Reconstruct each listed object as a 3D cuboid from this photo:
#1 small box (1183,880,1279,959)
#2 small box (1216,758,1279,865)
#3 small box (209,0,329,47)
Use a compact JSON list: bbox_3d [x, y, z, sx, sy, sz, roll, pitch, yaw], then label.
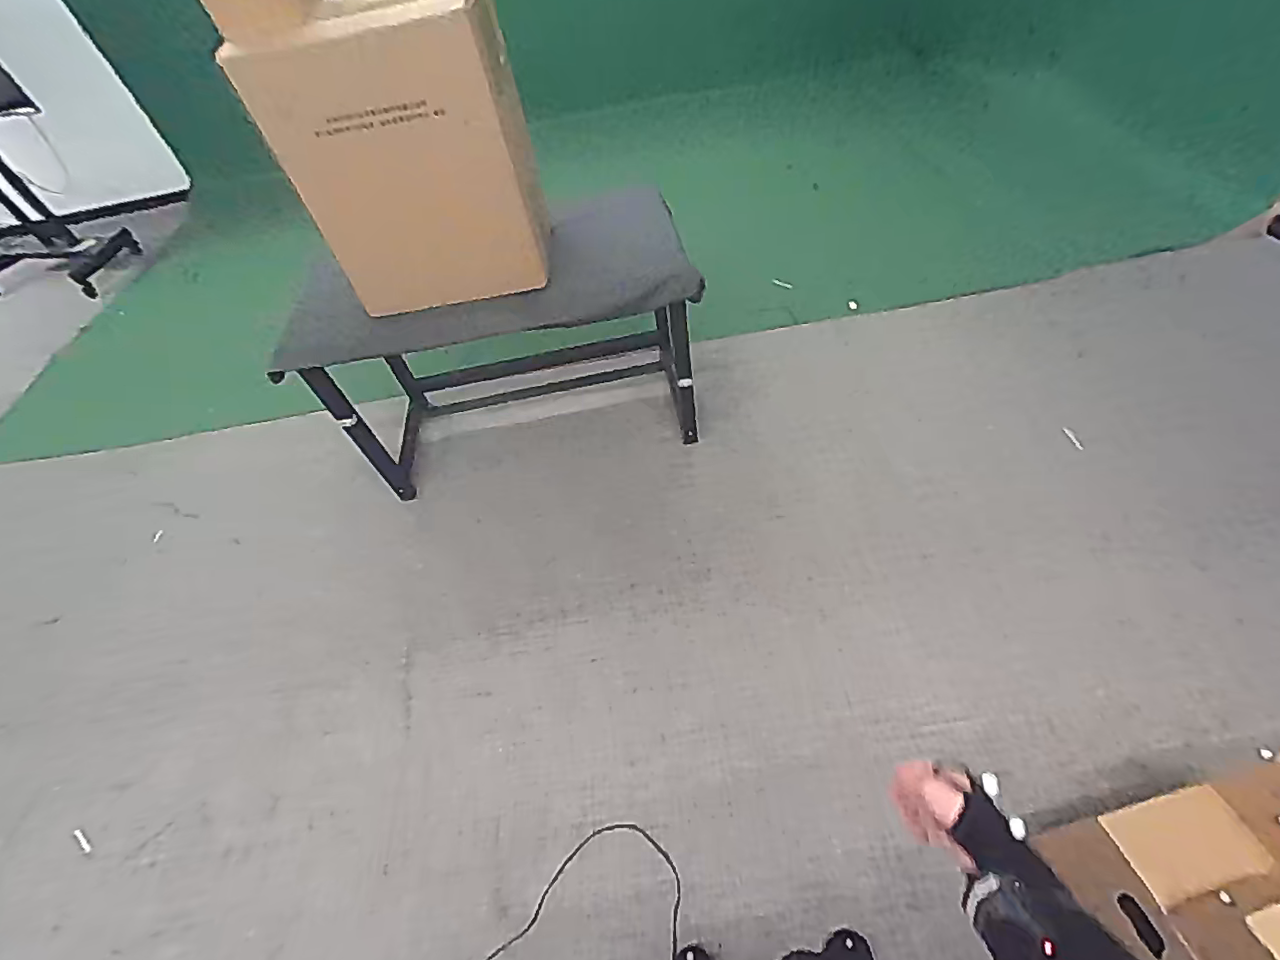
[{"bbox_3d":[0.959,0.702,0.780,0.179,0.176,0.168,-17,53,-5],"label":"small box"},{"bbox_3d":[1.131,0.547,0.876,0.168,0.176,0.179,-14,47,-2],"label":"small box"},{"bbox_3d":[-0.790,-1.035,1.119,0.179,0.176,0.168,-9,58,4],"label":"small box"}]
